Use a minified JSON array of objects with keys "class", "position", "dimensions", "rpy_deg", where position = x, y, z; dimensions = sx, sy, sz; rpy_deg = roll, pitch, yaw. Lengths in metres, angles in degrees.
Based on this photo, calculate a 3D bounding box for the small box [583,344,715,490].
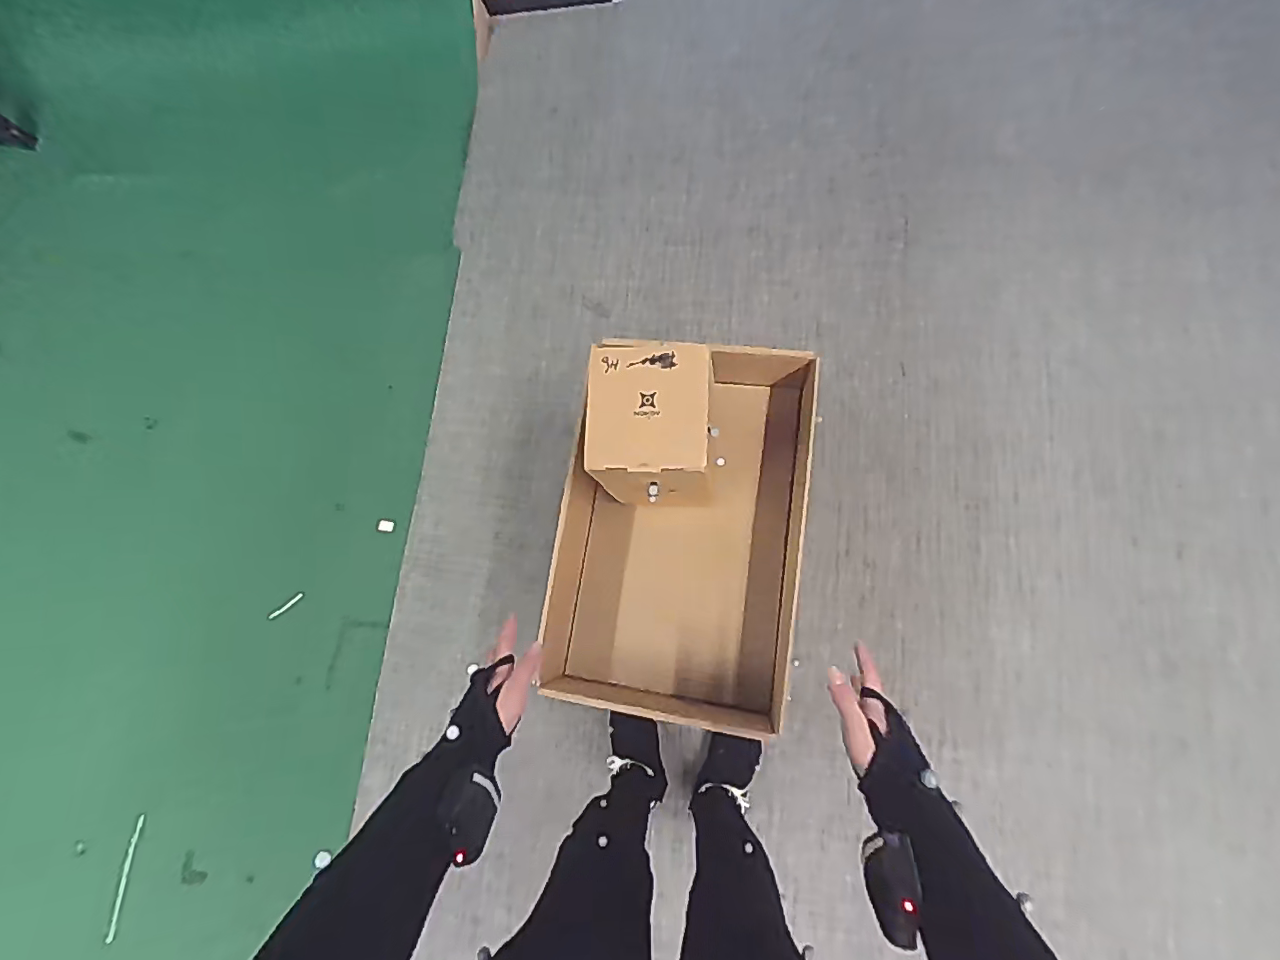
[{"class":"small box","position":[0.022,-0.082,0.790],"dimensions":[0.168,0.176,0.179],"rpy_deg":[1,80,10]}]
